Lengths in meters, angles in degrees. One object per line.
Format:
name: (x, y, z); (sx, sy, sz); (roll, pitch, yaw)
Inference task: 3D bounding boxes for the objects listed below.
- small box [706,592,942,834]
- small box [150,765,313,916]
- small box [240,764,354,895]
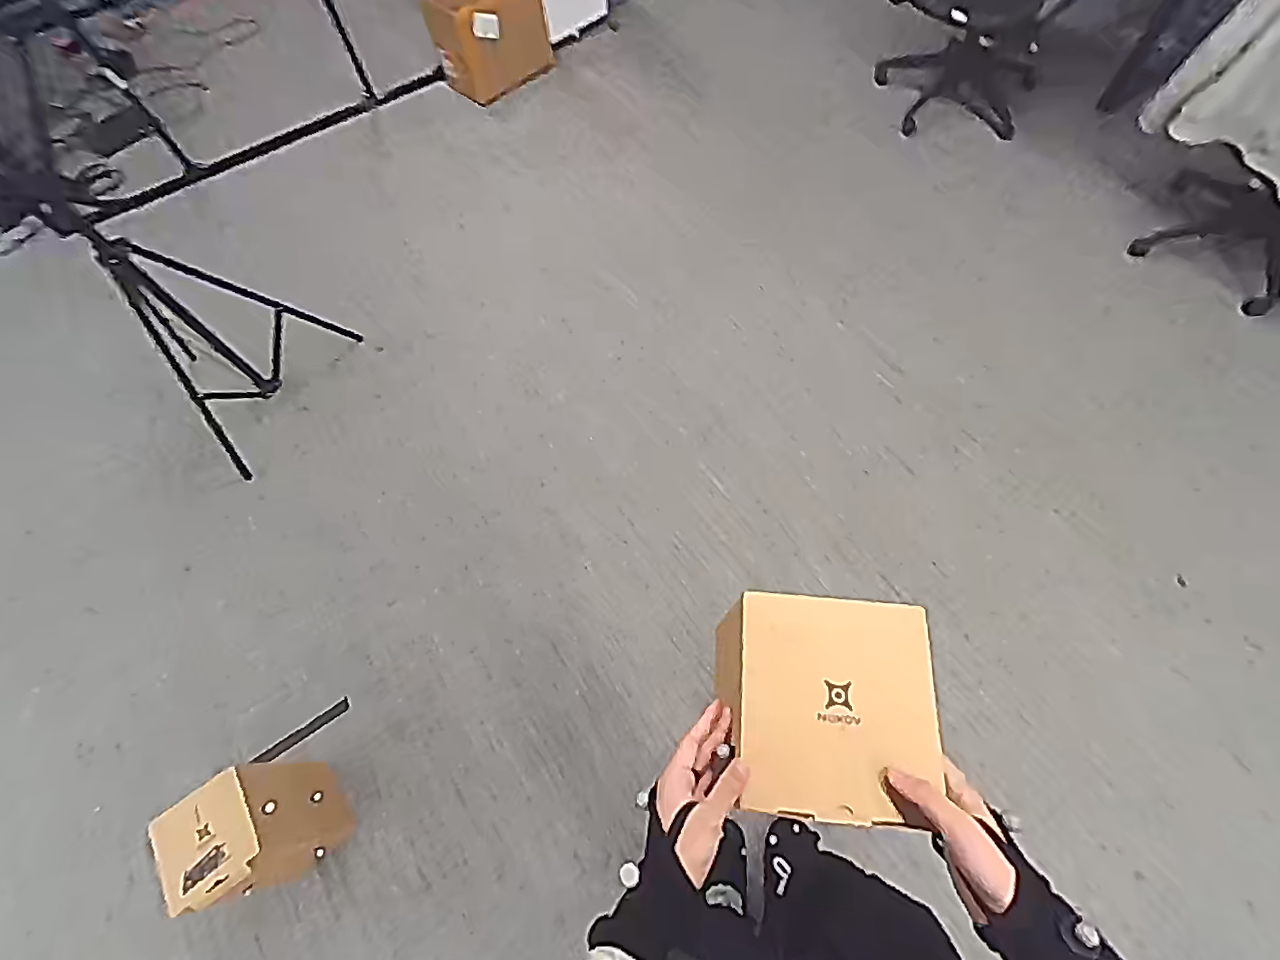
small box: (0.158, 0.220, 0.526); (0.168, 0.176, 0.179); (5, 67, 1)
small box: (-0.777, 0.678, 1.045); (0.168, 0.176, 0.179); (-35, 66, -13)
small box: (-0.771, 0.754, 1.191); (0.168, 0.176, 0.179); (-35, 65, -14)
